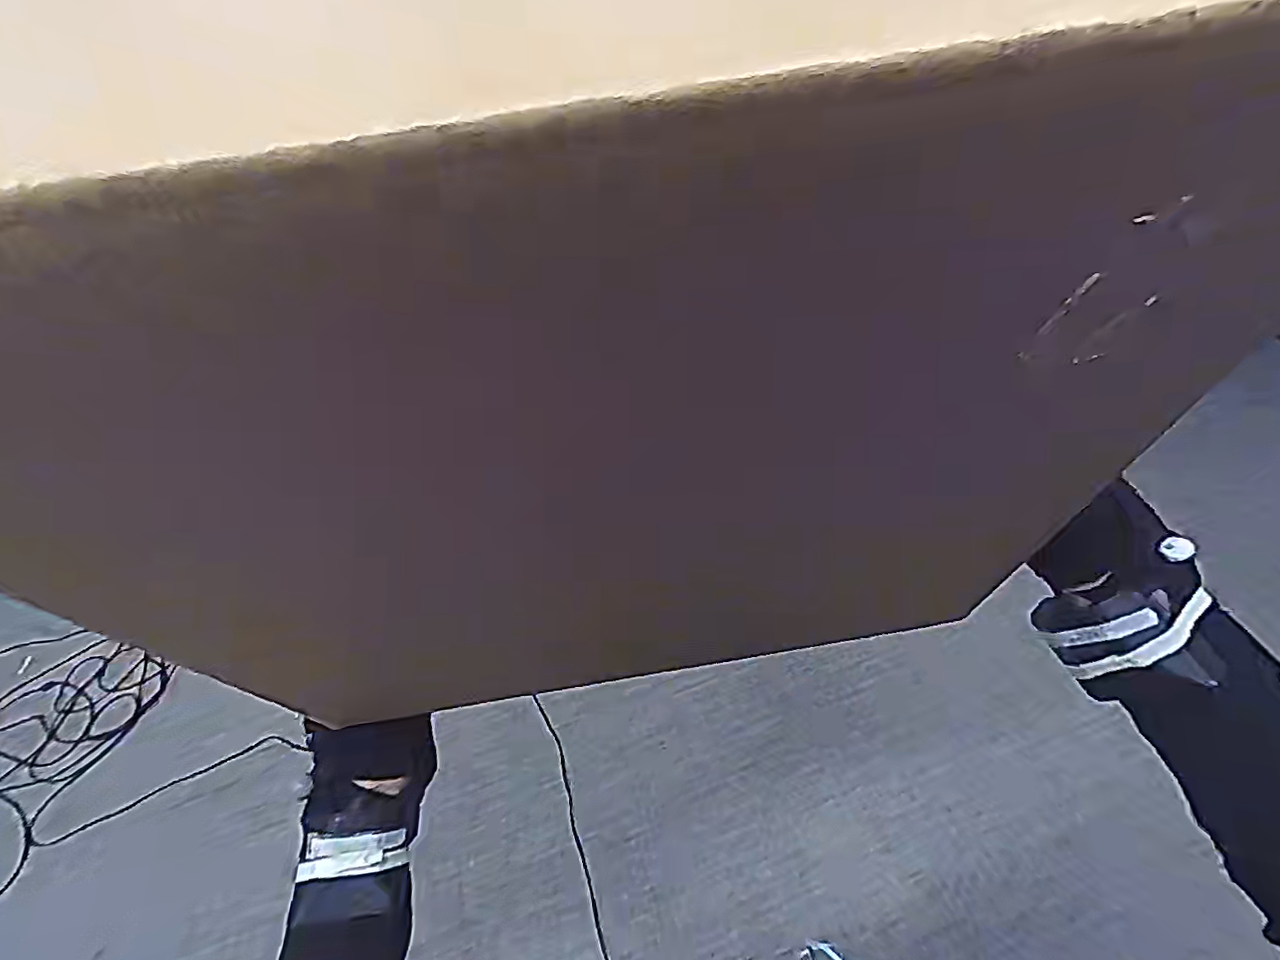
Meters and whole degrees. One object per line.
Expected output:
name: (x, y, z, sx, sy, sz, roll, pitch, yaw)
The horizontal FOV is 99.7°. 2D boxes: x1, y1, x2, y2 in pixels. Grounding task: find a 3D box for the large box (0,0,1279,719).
large box: (-0.017, -0.092, 0.309, 0.408, 0.320, 0.320, -9, 54, -3)
